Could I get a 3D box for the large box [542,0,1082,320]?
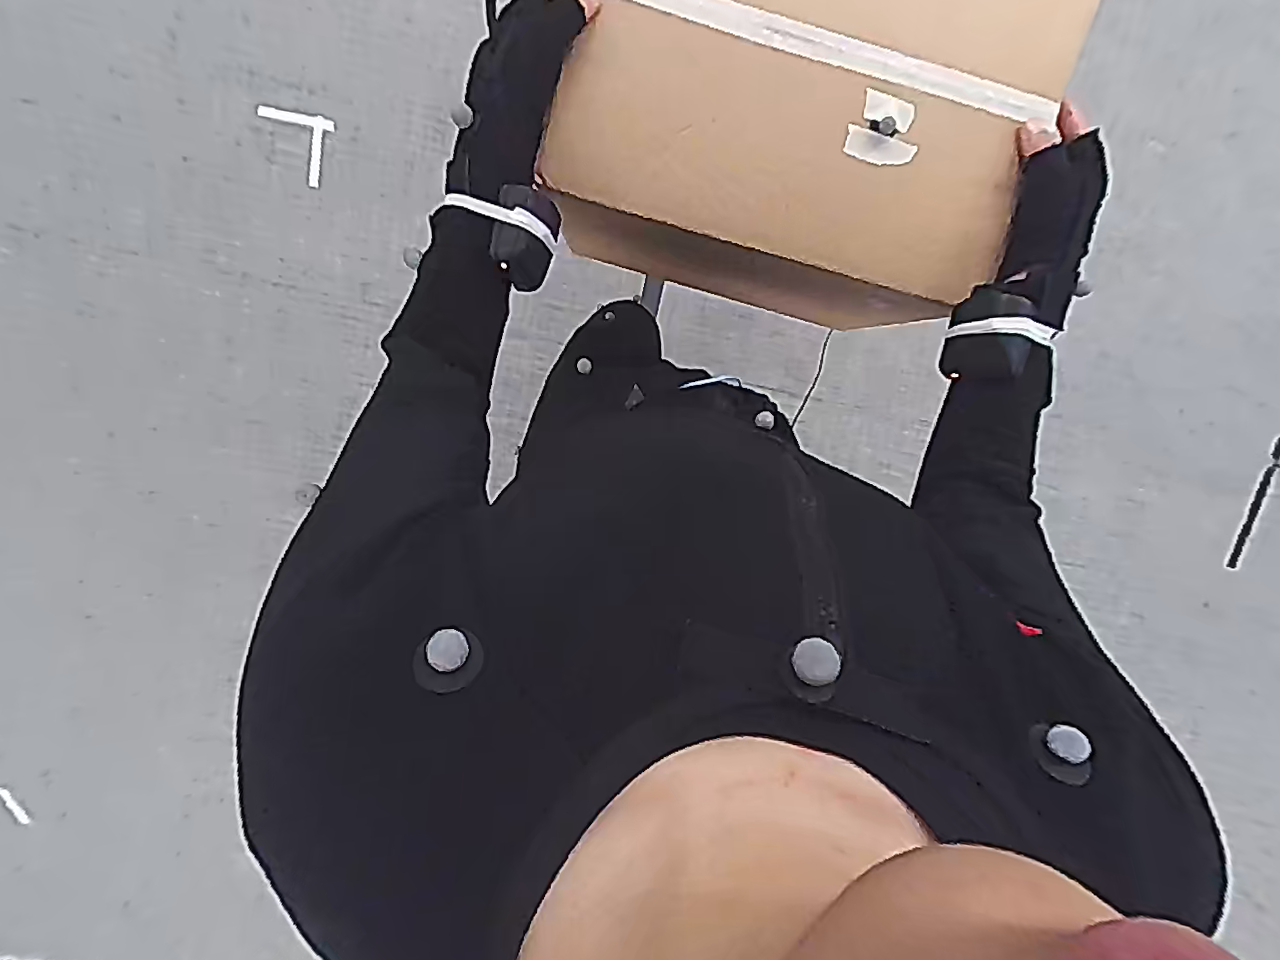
[{"bbox_3d":[0.136,-0.381,0.584,0.408,0.320,0.320,14,103,-6],"label":"large box"}]
